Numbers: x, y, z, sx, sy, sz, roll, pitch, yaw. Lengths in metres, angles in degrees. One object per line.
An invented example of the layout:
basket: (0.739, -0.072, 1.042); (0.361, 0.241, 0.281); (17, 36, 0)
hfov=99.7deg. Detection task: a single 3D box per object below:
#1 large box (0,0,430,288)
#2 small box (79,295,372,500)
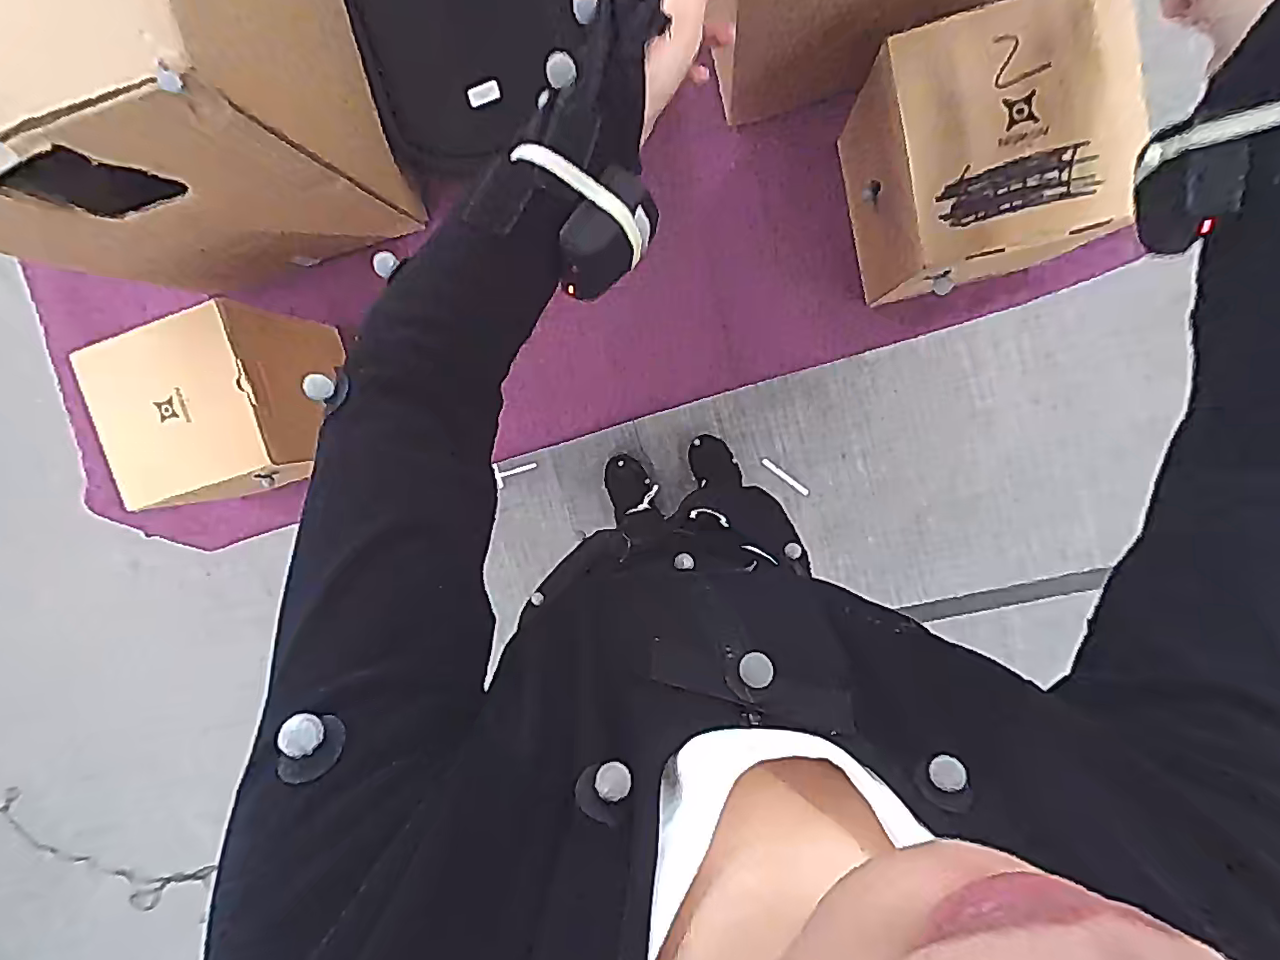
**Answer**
large box: (-0.456, -0.439, 0.493); (0.320, 0.320, 0.408); (-13, 99, 9)
small box: (-0.448, -0.085, 0.612); (0.179, 0.176, 0.168); (-16, 94, 8)
